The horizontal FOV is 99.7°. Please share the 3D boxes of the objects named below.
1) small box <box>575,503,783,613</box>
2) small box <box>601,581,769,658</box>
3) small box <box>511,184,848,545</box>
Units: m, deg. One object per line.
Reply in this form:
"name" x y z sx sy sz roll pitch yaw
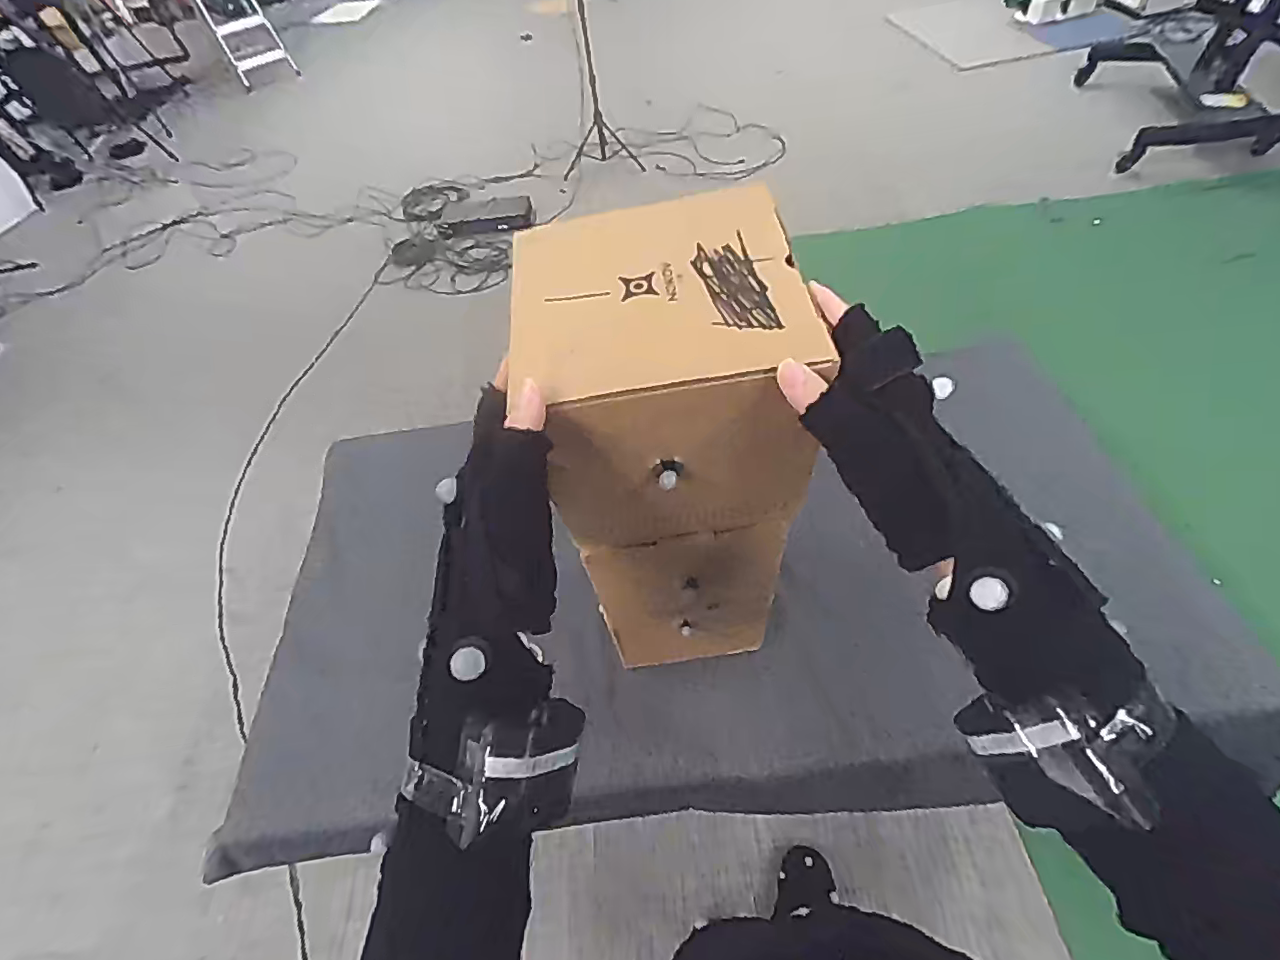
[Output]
"small box" 0.031 0.018 0.524 0.168 0.176 0.179 -9 56 1
"small box" 0.048 0.106 0.661 0.179 0.176 0.168 -8 55 1
"small box" 0.018 -0.071 0.383 0.179 0.176 0.168 -10 57 0
